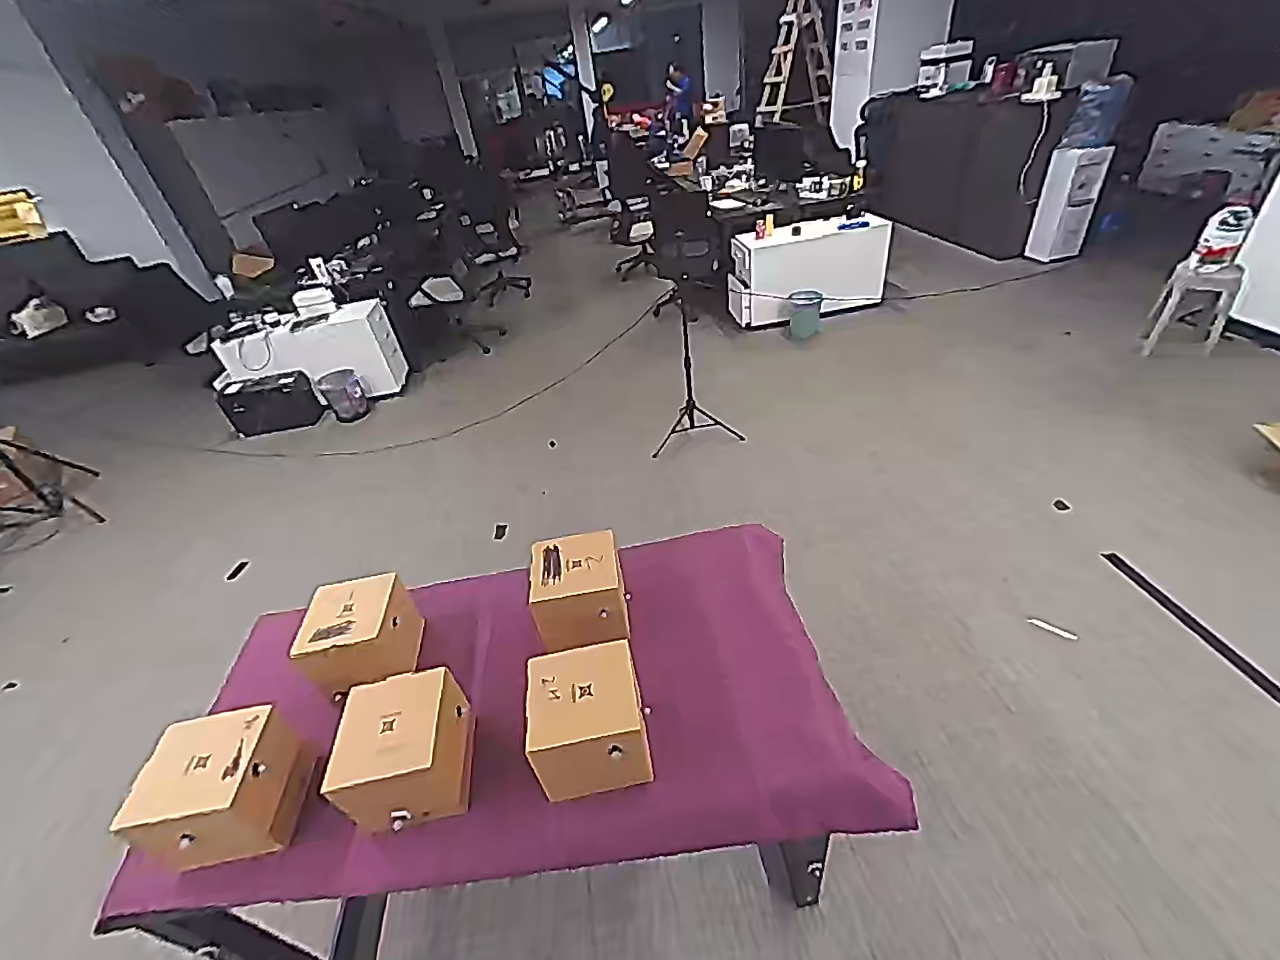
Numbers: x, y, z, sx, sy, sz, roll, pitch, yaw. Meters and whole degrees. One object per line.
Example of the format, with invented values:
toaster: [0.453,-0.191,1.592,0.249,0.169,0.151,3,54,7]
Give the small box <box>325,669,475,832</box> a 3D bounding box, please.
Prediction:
small box: [-0.387,0.454,0.912,0.168,0.176,0.179,-12,39,-2]

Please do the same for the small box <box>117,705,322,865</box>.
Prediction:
small box: [-0.678,0.508,0.899,0.179,0.176,0.168,-11,37,-1]

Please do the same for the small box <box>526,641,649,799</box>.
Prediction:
small box: [-0.083,0.402,0.908,0.179,0.176,0.168,-11,36,-2]

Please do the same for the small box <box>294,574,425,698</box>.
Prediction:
small box: [-0.564,0.327,1.117,0.168,0.176,0.179,-11,37,-3]
